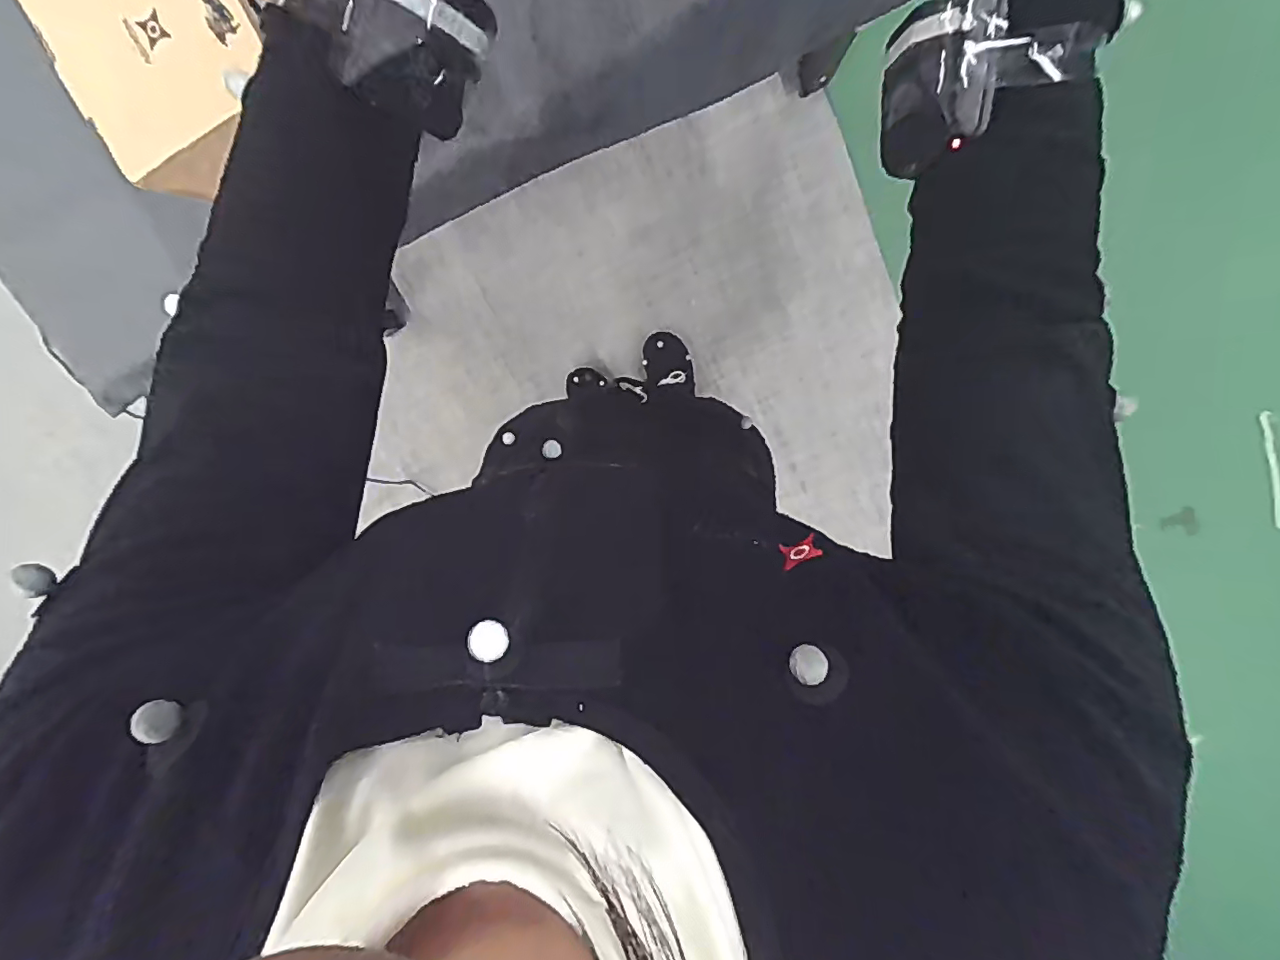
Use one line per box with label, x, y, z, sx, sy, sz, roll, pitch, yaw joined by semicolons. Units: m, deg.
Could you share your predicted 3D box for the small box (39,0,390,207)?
small box;-0.388;-0.393;0.523;0.179;0.176;0.168;-22;103;12
